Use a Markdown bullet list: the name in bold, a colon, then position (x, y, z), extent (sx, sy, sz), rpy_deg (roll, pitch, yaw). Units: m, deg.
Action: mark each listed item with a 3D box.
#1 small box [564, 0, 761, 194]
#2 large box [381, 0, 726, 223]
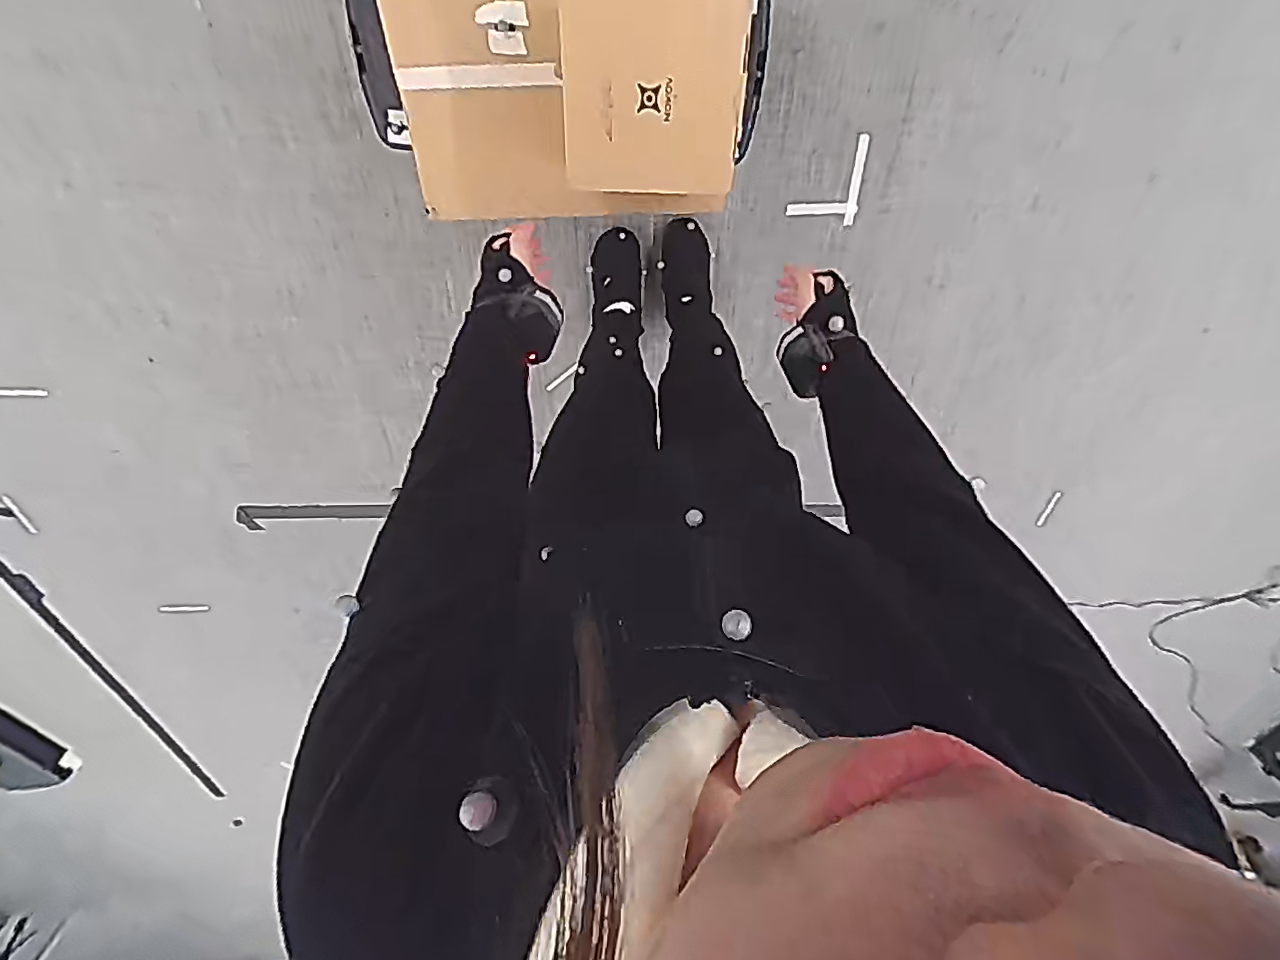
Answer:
- **small box**: position (0.012, -0.414, 0.577), extent (0.179, 0.176, 0.168), rpy_deg (1, 126, -3)
- **large box**: position (-0.091, -0.569, 0.762), extent (0.408, 0.320, 0.320), rpy_deg (-2, 125, -1)
